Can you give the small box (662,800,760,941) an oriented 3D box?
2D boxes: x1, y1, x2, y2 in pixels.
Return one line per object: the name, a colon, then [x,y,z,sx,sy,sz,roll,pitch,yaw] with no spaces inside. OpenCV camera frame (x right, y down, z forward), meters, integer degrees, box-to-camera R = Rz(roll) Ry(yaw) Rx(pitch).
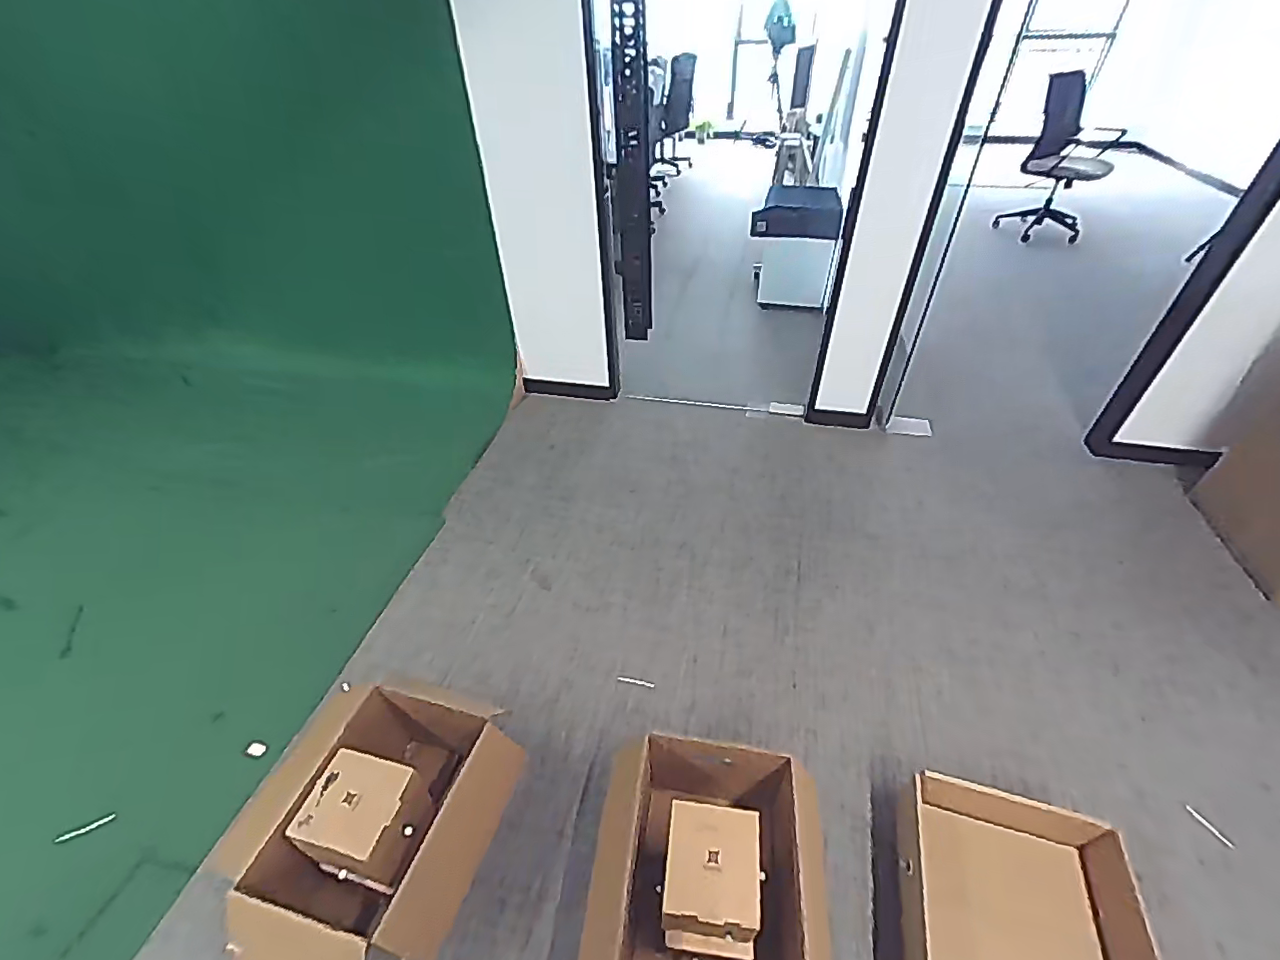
small box: [0.133,0.733,1.013,0.168,0.176,0.179,5,43,7]
